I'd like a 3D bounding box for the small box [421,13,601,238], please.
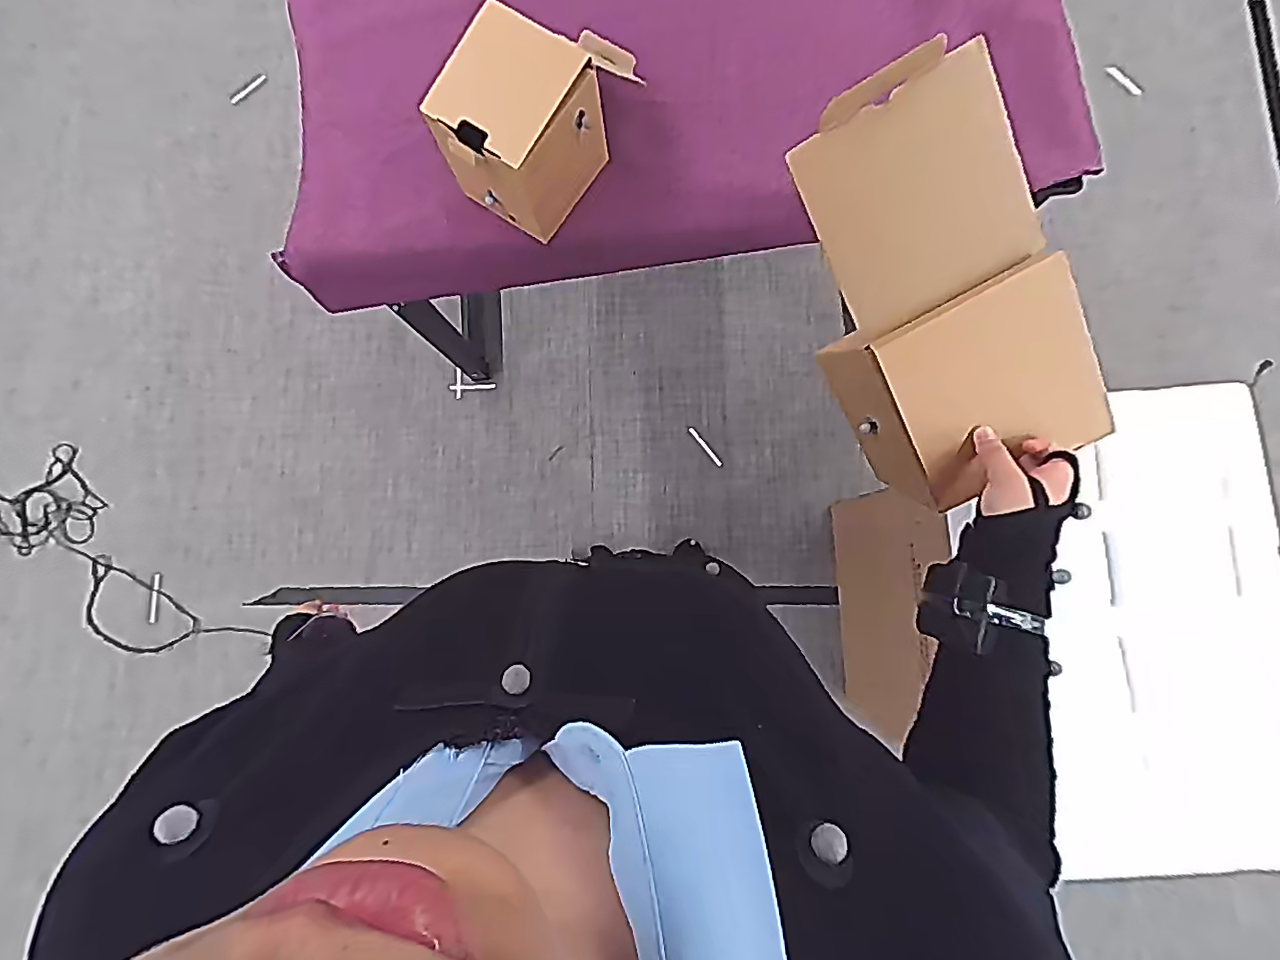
[{"bbox_3d":[-0.169,-0.497,0.781,0.168,0.176,0.179,34,85,7],"label":"small box"}]
